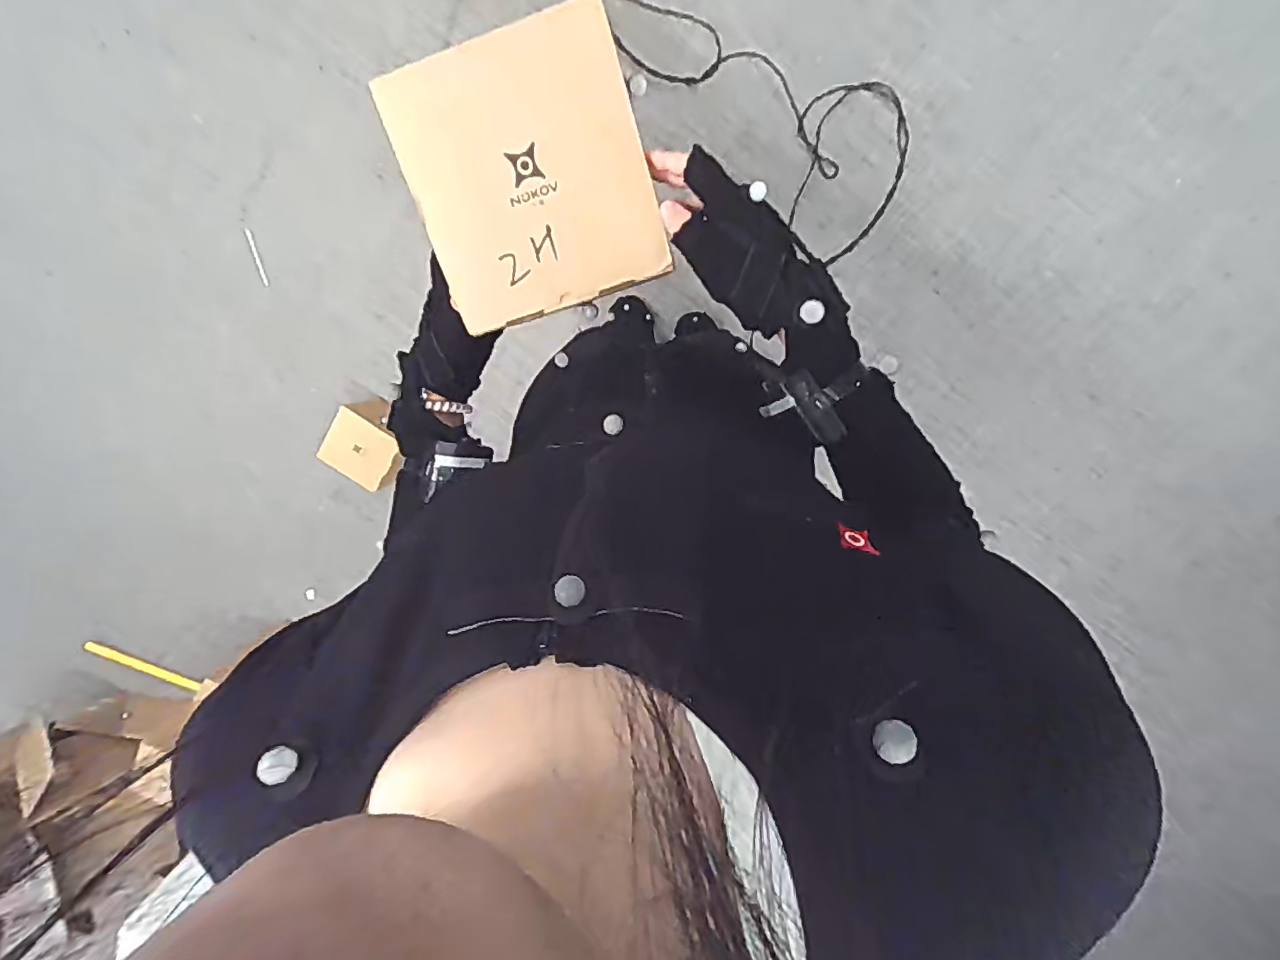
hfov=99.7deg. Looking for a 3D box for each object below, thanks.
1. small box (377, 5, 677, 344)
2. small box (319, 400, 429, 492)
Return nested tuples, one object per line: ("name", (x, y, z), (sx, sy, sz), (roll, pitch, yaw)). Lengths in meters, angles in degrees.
("small box", (-0.073, -0.226, 0.448), (0.168, 0.176, 0.179), (-15, 109, 7))
("small box", (-0.708, -0.099, 1.455), (0.179, 0.176, 0.168), (34, 107, -7))
